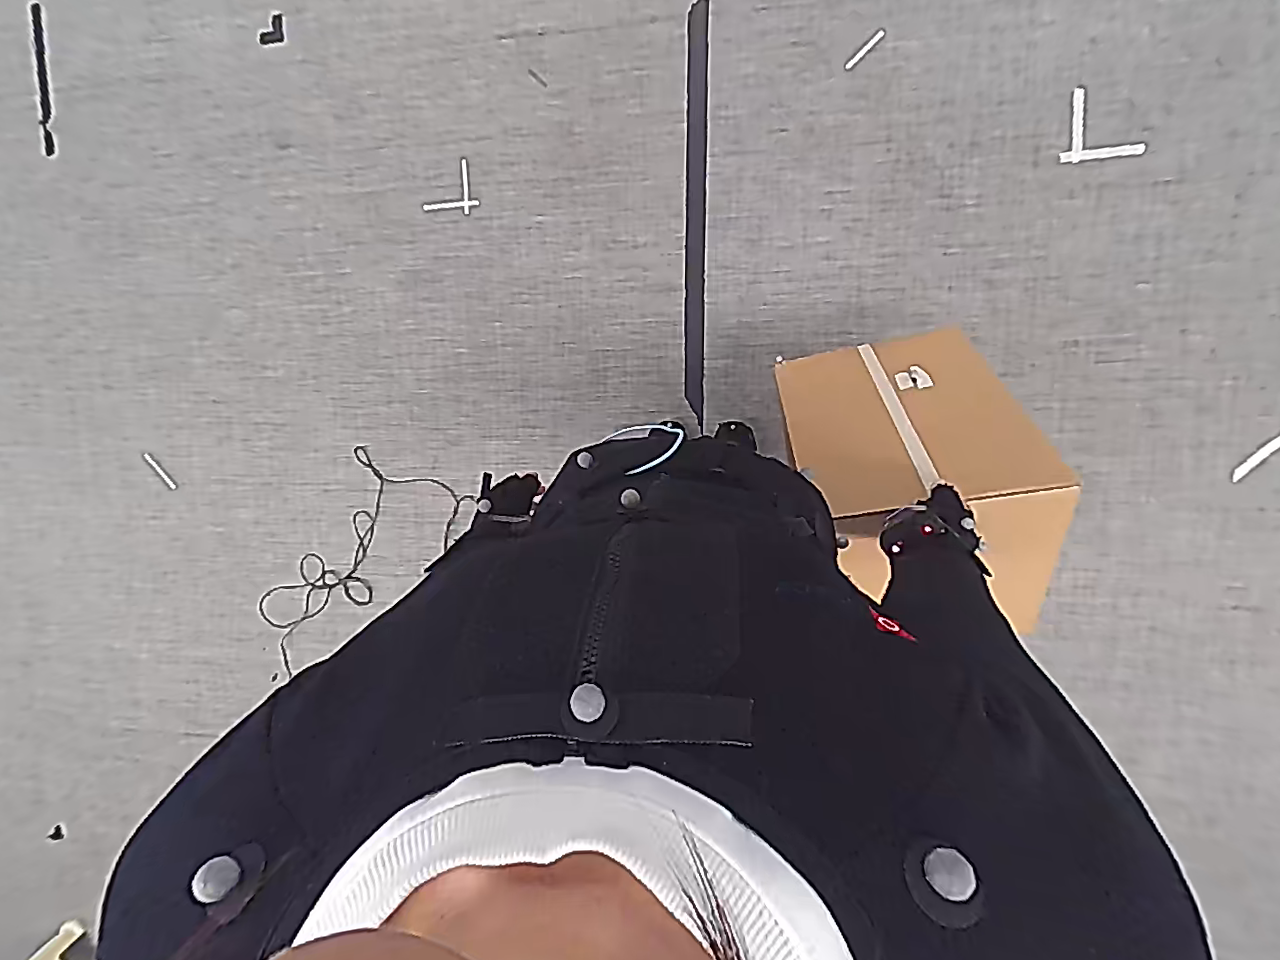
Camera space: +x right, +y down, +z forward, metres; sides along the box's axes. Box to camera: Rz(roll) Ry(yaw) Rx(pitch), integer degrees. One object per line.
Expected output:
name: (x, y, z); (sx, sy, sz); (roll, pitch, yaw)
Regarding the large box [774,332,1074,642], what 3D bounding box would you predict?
large box: (0.429, 0.007, 0.921); (0.320, 0.408, 0.320); (-9, 130, 12)
